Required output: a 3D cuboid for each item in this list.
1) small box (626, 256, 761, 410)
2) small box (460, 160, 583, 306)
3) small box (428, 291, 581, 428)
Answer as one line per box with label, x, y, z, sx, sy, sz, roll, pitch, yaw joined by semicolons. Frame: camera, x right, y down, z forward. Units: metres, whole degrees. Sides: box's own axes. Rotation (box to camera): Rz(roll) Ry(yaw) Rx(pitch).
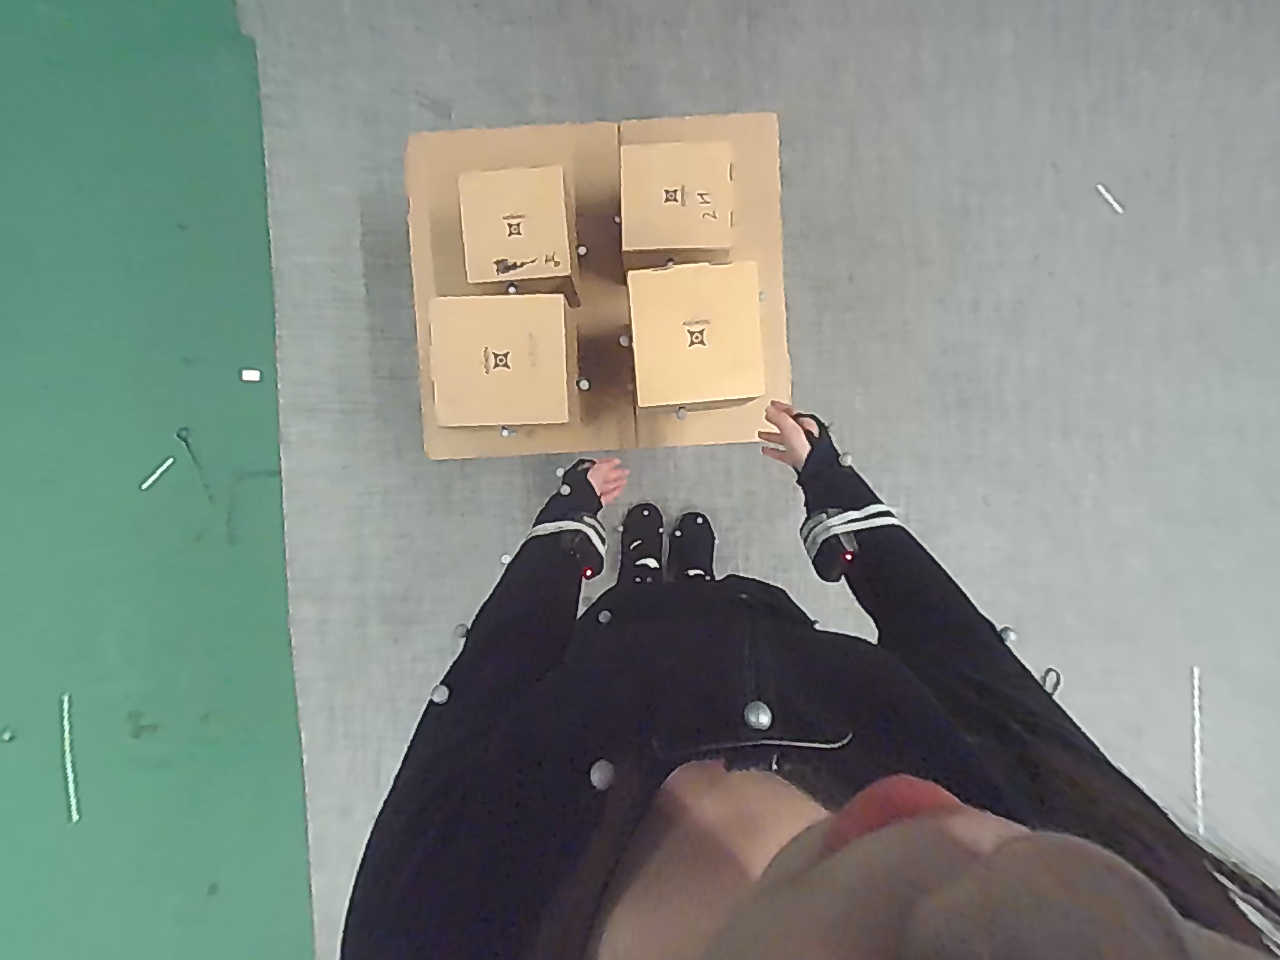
small box;0.072;-0.193;0.763;0.168;0.176;0.179;-5;92;2
small box;-0.193;-0.406;0.921;0.168;0.176;0.179;-4;91;2
small box;-0.182;-0.161;0.768;0.179;0.176;0.168;-1;94;0
